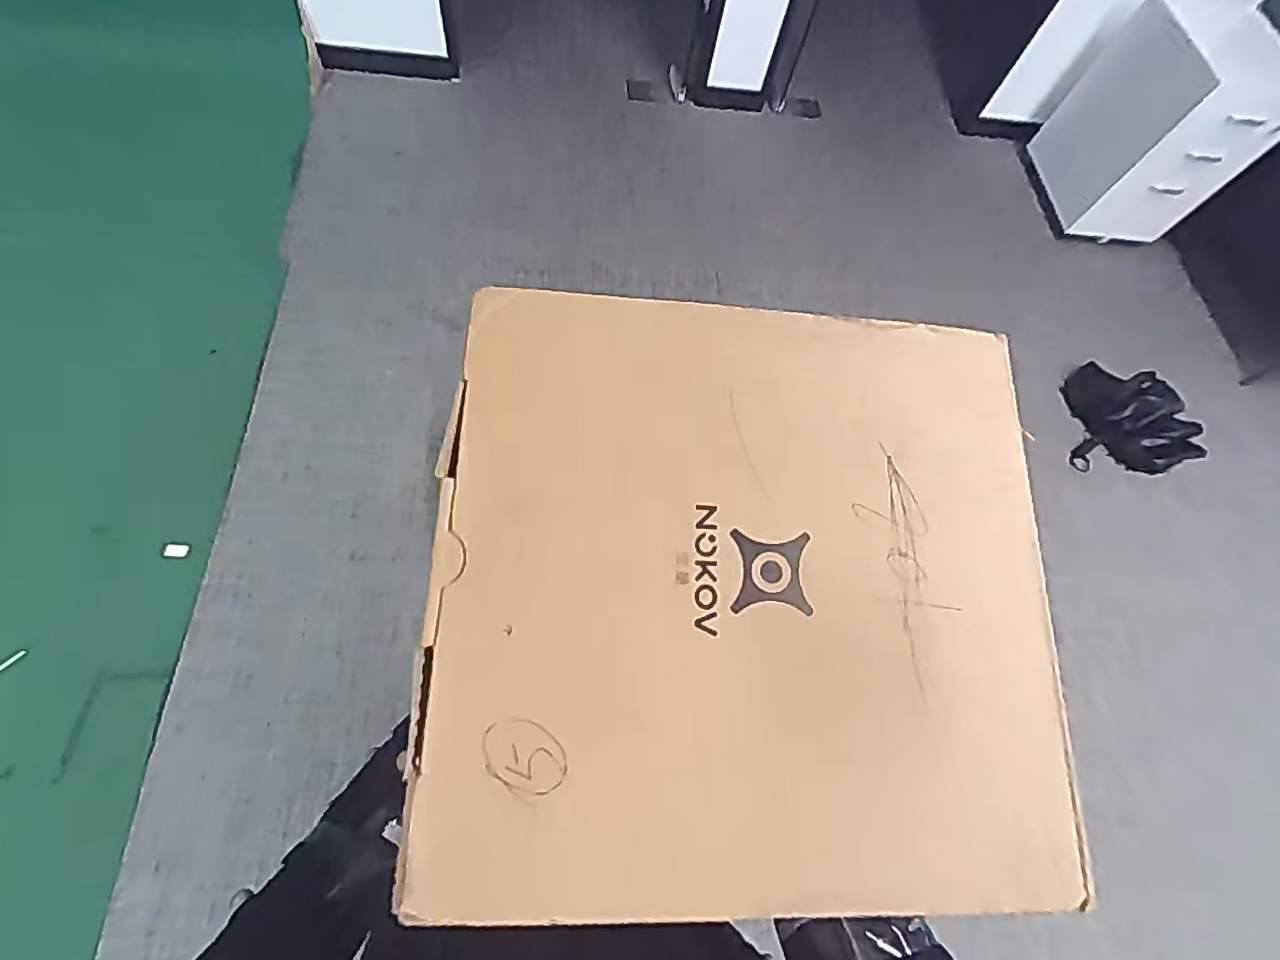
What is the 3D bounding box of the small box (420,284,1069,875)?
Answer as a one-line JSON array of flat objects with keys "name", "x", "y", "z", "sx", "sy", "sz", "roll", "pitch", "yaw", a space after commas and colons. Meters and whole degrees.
[{"name": "small box", "x": 0.024, "y": 0.040, "z": 0.236, "sx": 0.179, "sy": 0.176, "sz": 0.168, "roll": 3, "pitch": 76, "yaw": -7}]
